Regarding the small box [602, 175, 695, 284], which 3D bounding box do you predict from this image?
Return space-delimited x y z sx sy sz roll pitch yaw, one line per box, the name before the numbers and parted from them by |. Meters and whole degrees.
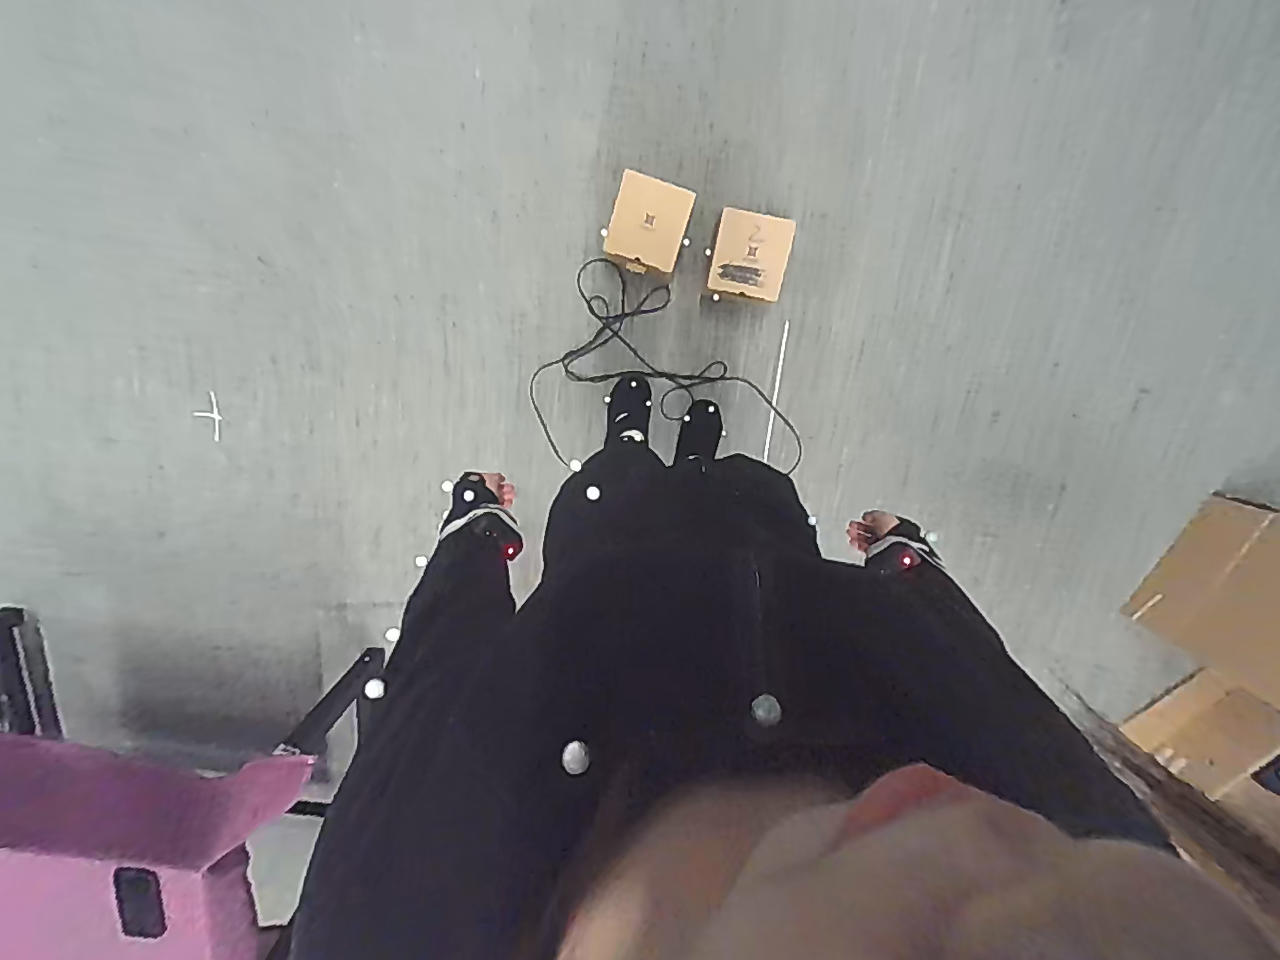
small box | 0.018 -0.580 1.274 0.168 0.176 0.179 18 105 -3
